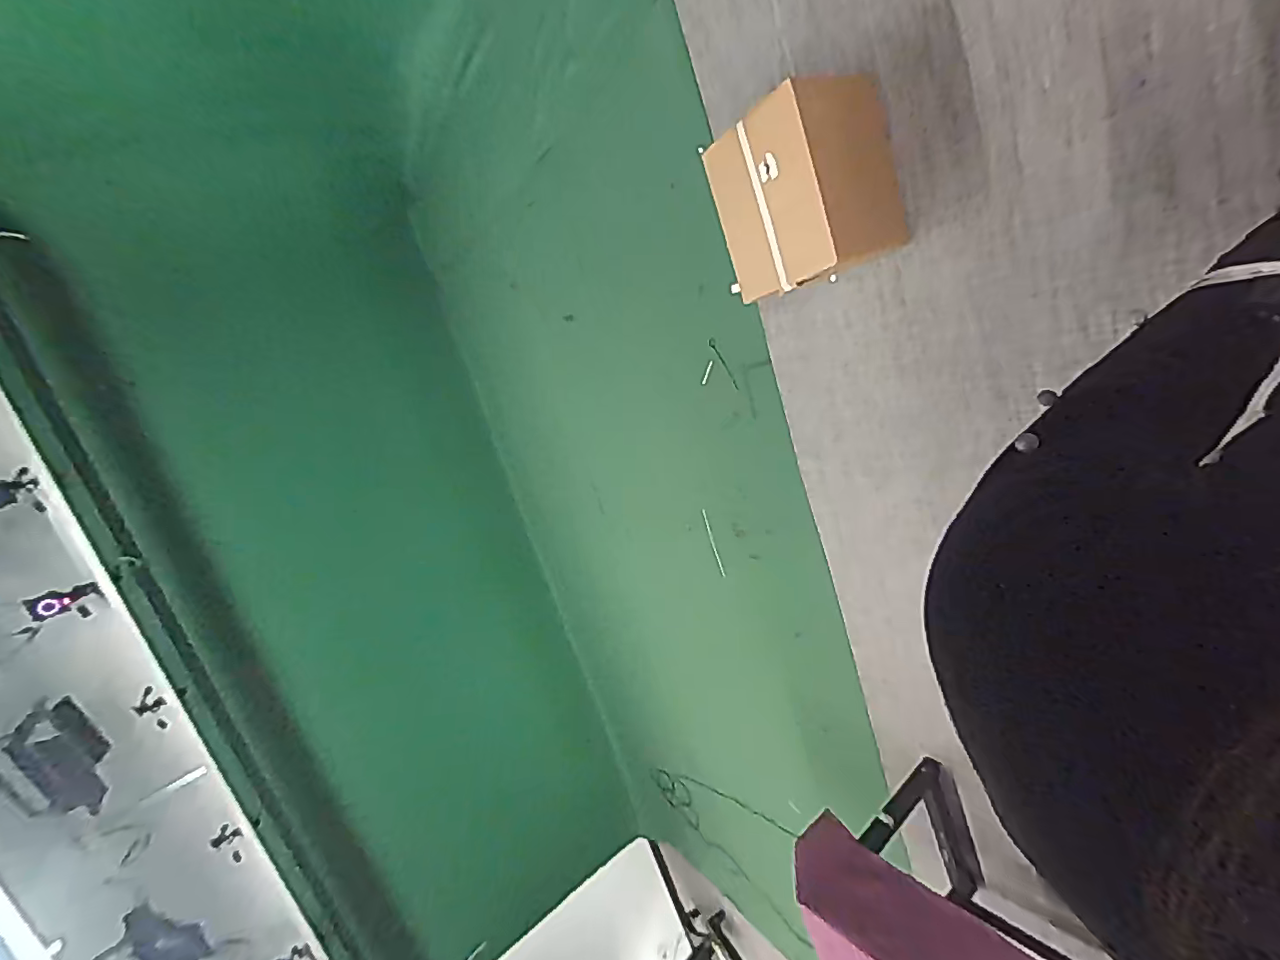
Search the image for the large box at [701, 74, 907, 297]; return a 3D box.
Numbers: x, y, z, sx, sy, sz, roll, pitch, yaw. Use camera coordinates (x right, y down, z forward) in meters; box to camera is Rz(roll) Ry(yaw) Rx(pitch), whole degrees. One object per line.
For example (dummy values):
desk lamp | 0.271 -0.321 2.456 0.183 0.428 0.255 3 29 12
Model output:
large box | 0.420 -0.738 1.388 0.320 0.320 0.408 -2 110 58
